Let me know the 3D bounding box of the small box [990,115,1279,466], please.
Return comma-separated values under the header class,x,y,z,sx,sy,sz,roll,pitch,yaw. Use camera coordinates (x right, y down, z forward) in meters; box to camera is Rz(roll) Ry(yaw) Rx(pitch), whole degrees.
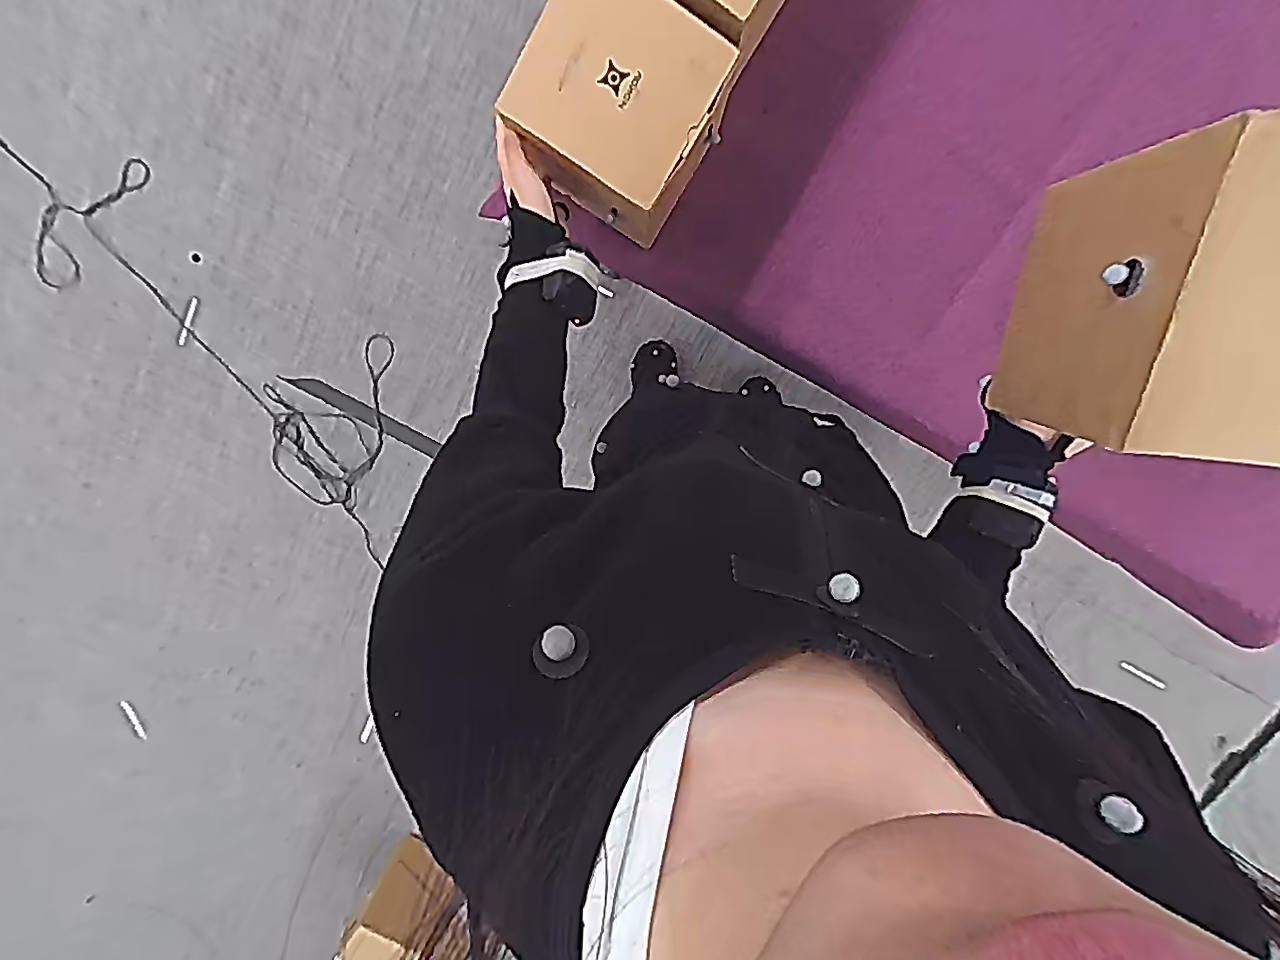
class,x,y,z,sx,sy,sz,roll,pitch,yaw
small box,0.379,-0.115,0.369,0.168,0.176,0.179,7,108,4
